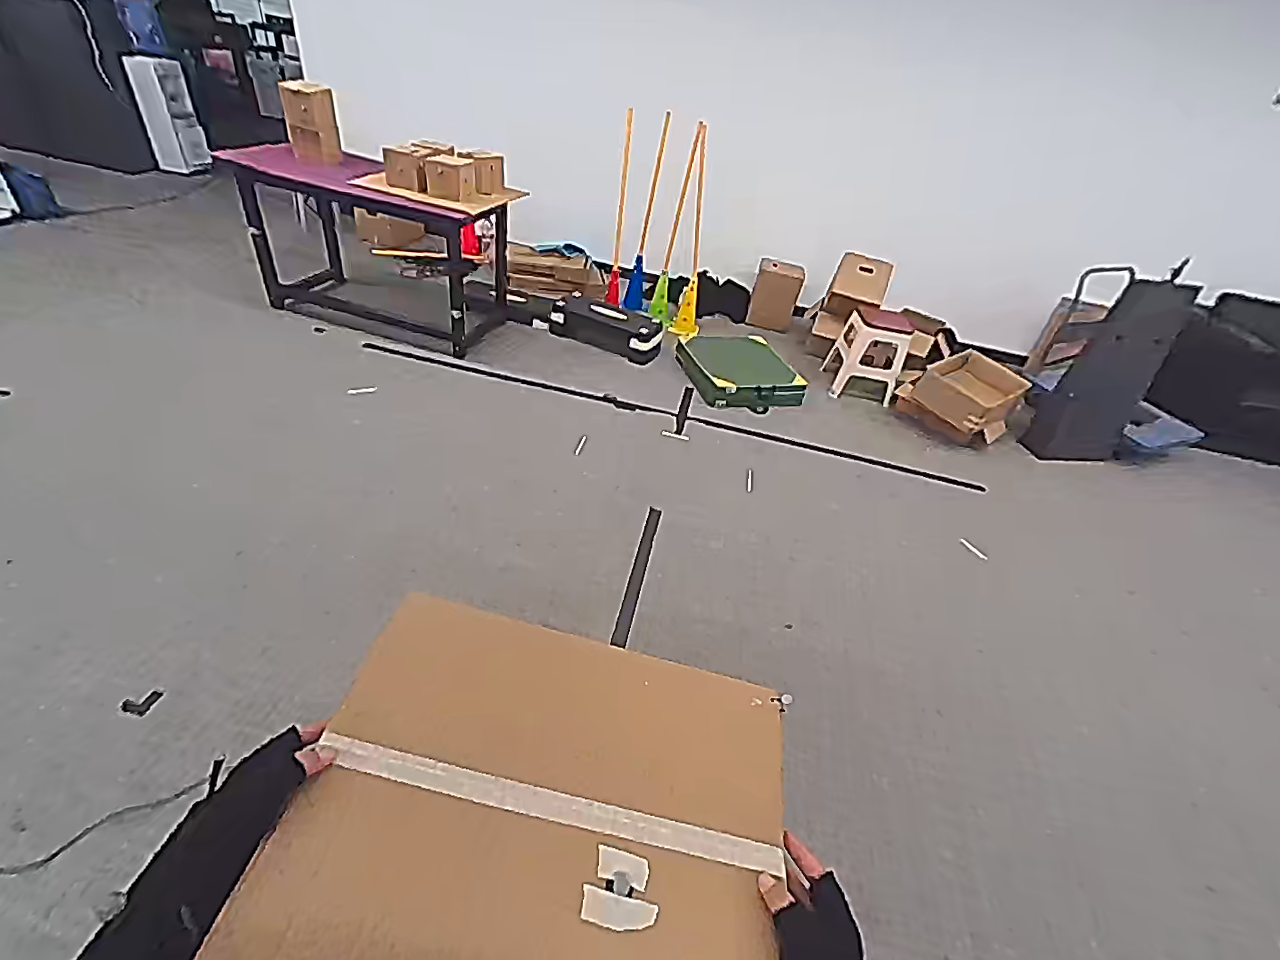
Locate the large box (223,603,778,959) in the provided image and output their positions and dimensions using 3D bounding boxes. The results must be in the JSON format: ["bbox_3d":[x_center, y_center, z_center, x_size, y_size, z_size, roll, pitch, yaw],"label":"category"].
[{"bbox_3d":[-0.104,0.383,0.573,0.408,0.320,0.320,15,44,-2],"label":"large box"}]
